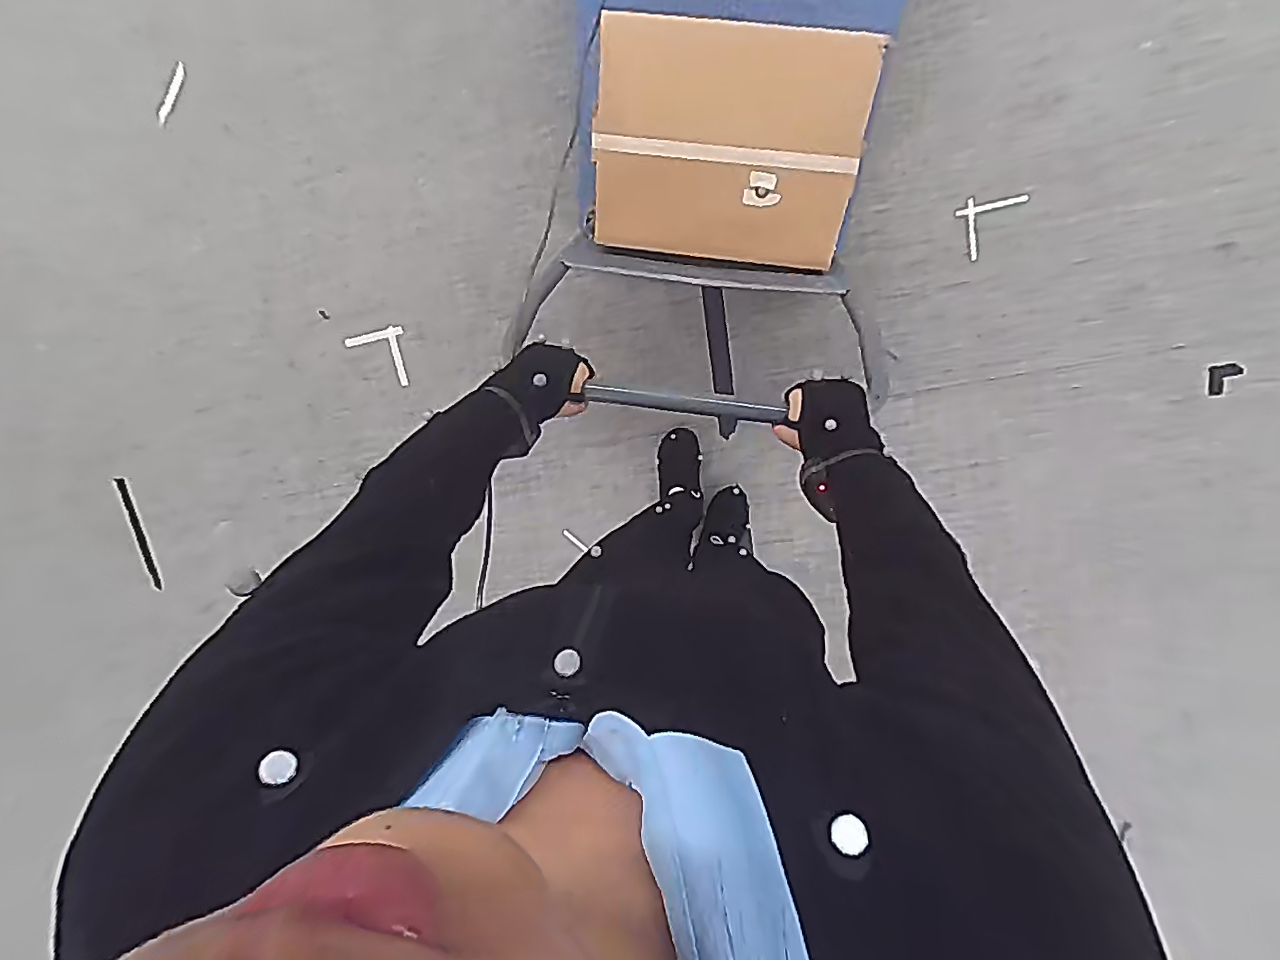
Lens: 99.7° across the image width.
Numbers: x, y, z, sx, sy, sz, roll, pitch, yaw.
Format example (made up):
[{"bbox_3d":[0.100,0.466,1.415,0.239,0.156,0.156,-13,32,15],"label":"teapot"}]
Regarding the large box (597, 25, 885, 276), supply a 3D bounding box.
[{"bbox_3d":[0.147,-0.574,0.959,0.408,0.320,0.320,8,125,3],"label":"large box"}]
